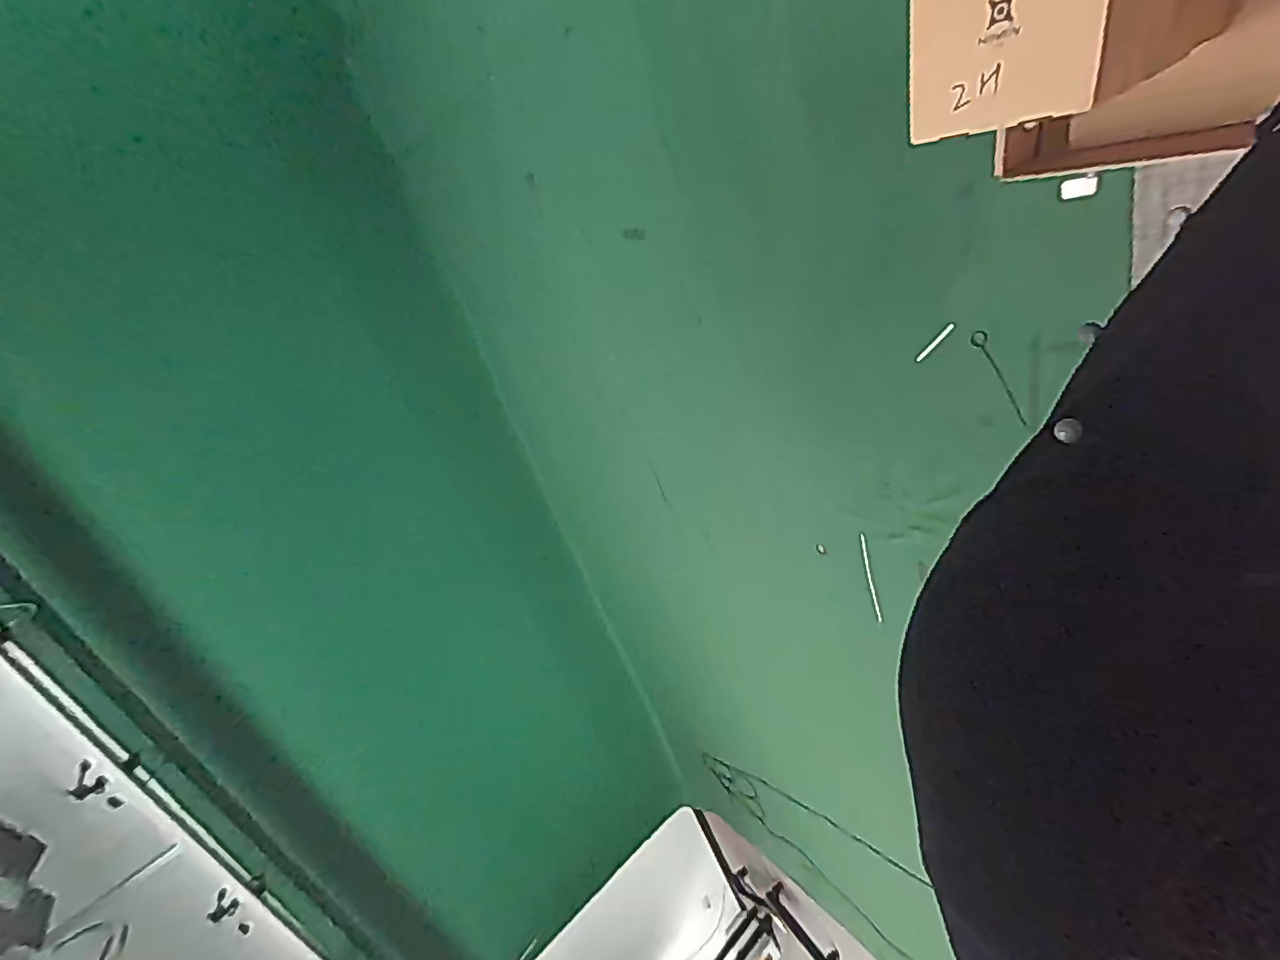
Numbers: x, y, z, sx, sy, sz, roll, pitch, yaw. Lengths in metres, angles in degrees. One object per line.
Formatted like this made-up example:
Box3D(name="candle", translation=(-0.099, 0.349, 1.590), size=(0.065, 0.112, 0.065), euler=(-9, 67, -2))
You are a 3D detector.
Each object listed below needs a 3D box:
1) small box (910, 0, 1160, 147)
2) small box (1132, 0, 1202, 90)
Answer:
Box3D(name="small box", translation=(0.394, -0.462, 0.541), size=(0.168, 0.176, 0.179), euler=(22, 138, 46))
Box3D(name="small box", translation=(0.517, -0.546, 0.612), size=(0.168, 0.176, 0.179), euler=(24, 140, 45))
